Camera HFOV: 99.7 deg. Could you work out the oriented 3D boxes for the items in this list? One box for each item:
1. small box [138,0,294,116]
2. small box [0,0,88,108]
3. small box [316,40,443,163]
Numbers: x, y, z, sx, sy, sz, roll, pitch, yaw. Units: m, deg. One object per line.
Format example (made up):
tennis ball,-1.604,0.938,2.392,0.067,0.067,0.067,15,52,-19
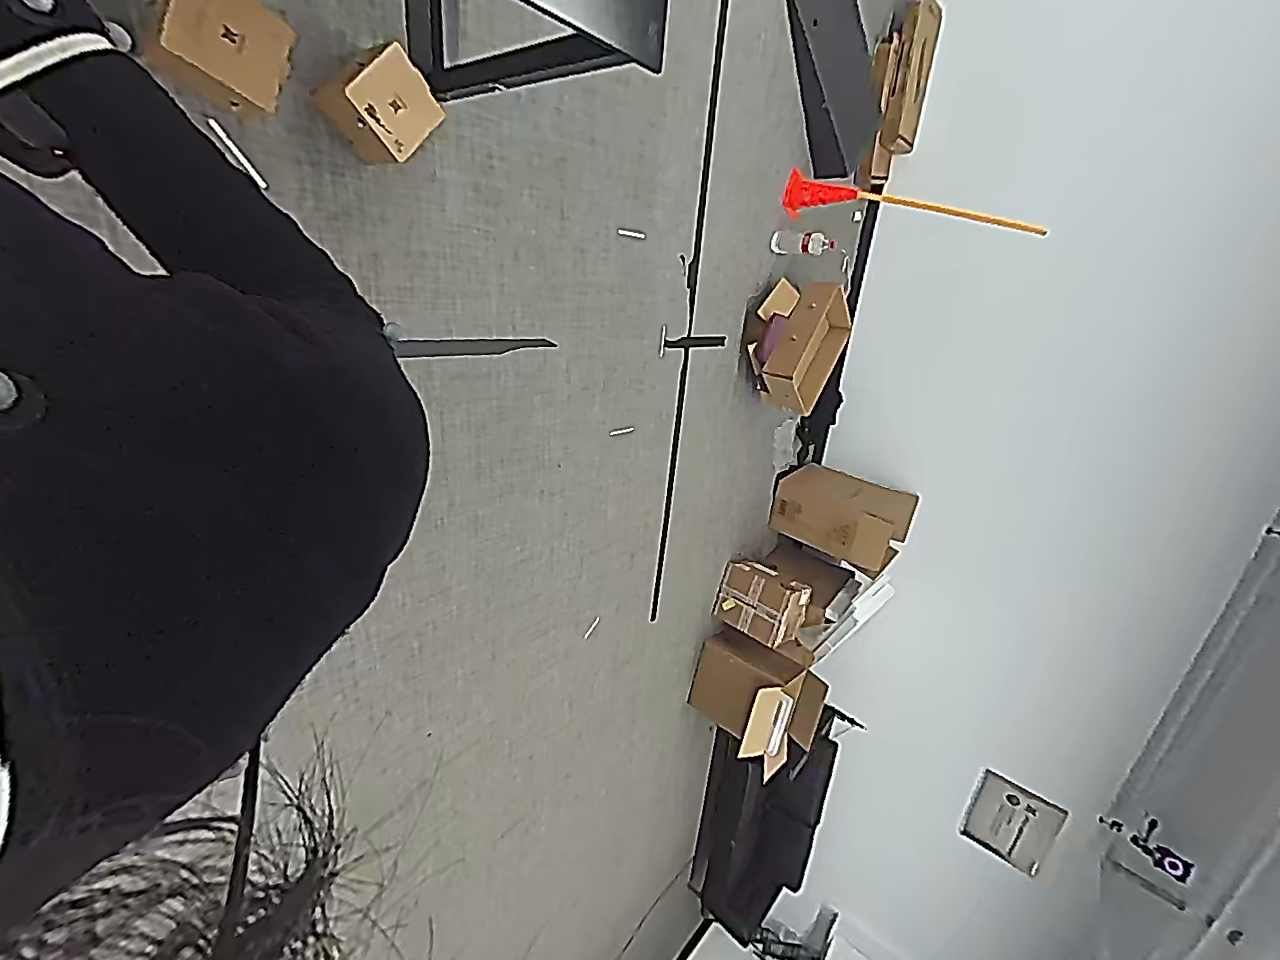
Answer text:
small box,-0.797,-0.820,1.018,0.179,0.176,0.168,13,96,-53
small box,-0.992,-0.695,0.825,0.168,0.176,0.179,-19,124,-47
small box,-0.602,-0.863,1.246,0.179,0.176,0.168,-58,143,-14
